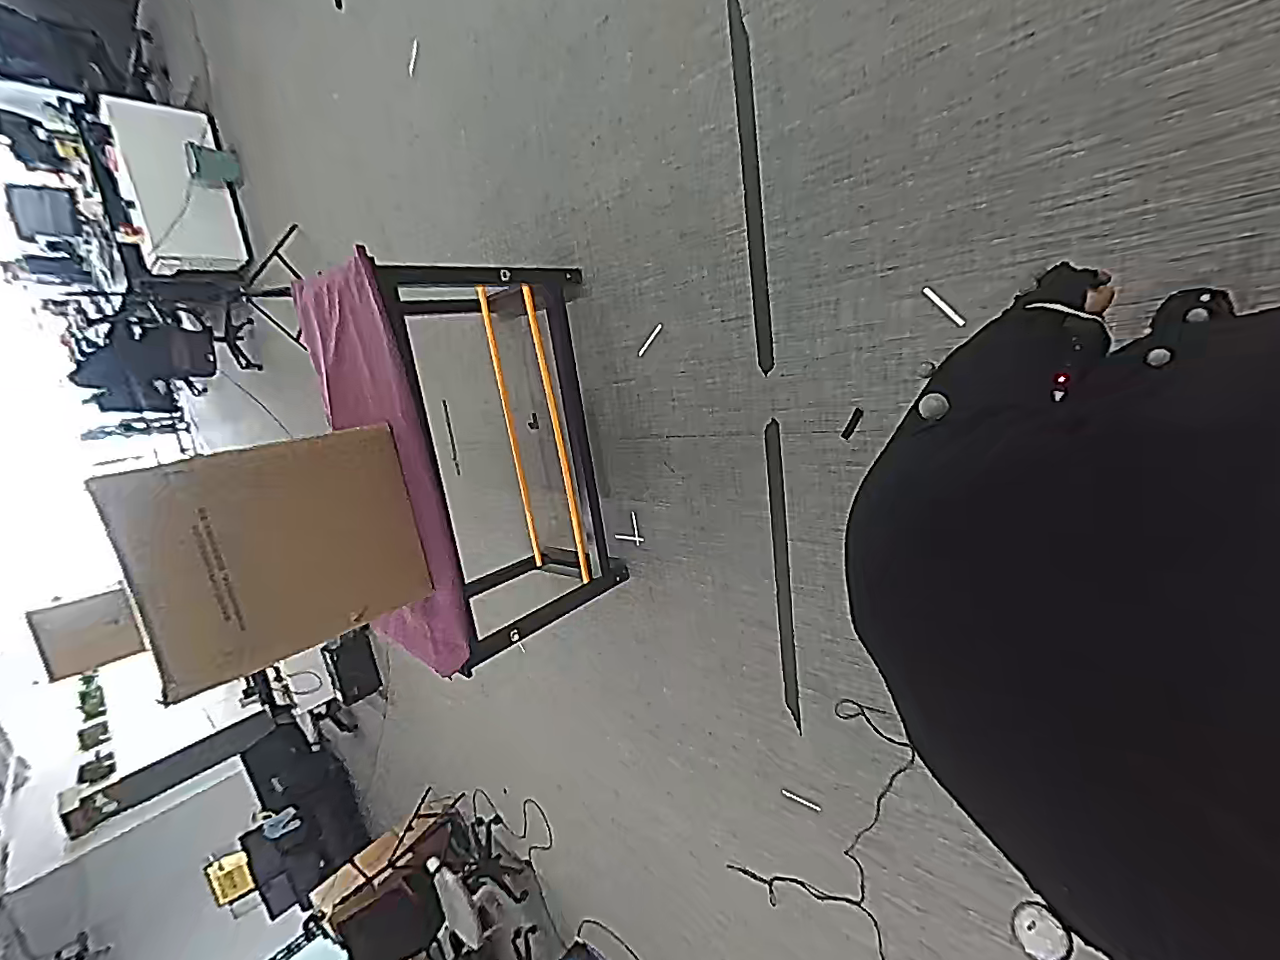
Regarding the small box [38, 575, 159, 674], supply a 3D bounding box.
[{"bbox_3d":[-1.312,0.350,1.315,0.168,0.176,0.179,1,105,44],"label":"small box"}]
